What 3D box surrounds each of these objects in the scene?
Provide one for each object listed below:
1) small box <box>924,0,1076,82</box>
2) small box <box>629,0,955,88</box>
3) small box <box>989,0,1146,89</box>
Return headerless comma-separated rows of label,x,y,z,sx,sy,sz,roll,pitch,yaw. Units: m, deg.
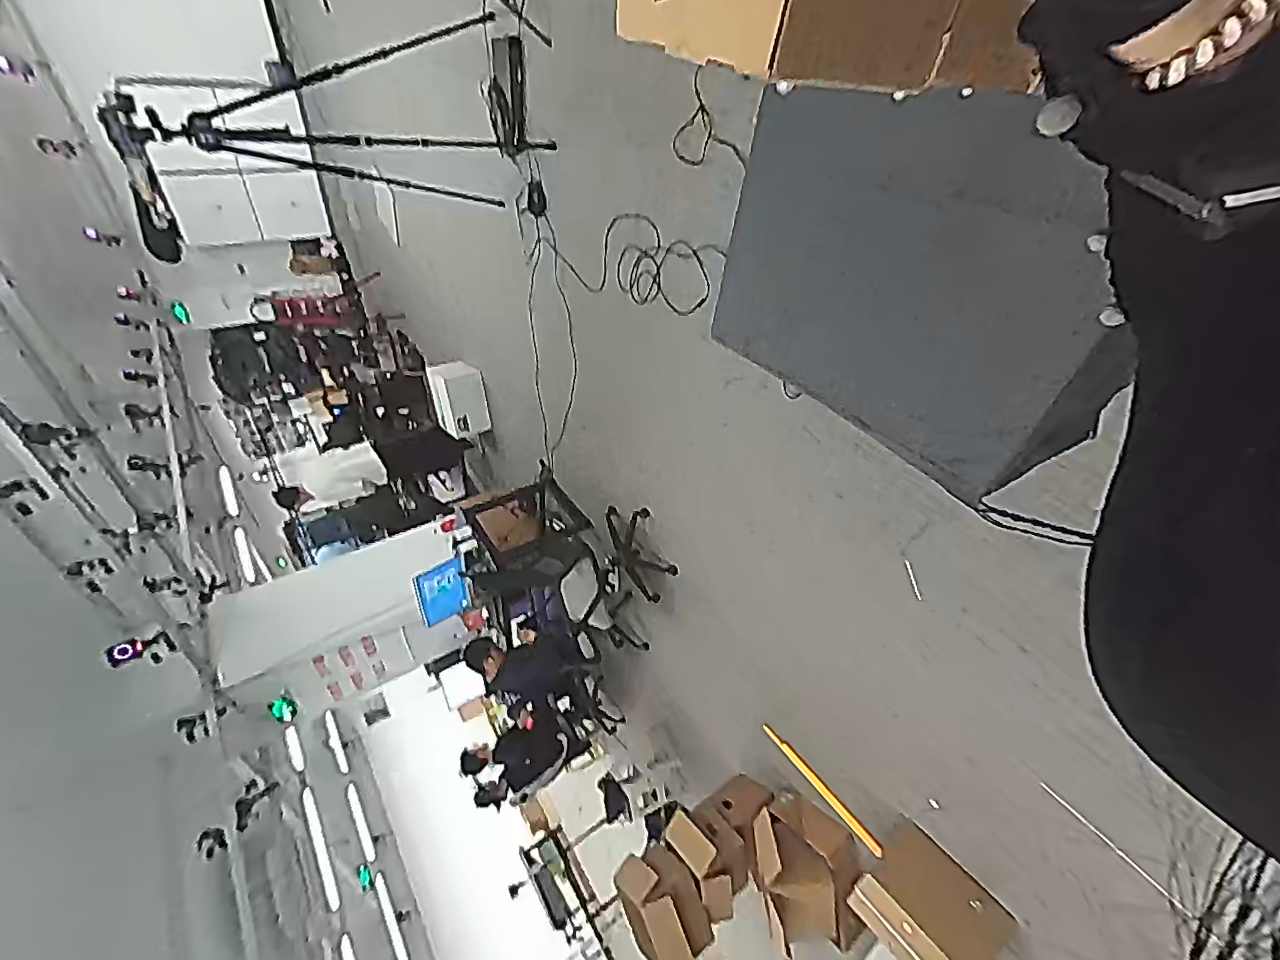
small box,0.247,-0.438,0.440,0.179,0.176,0.168,45,144,35
small box,0.115,-0.382,0.357,0.168,0.176,0.179,47,145,33
small box,0.378,-0.491,0.519,0.179,0.176,0.168,46,145,36
